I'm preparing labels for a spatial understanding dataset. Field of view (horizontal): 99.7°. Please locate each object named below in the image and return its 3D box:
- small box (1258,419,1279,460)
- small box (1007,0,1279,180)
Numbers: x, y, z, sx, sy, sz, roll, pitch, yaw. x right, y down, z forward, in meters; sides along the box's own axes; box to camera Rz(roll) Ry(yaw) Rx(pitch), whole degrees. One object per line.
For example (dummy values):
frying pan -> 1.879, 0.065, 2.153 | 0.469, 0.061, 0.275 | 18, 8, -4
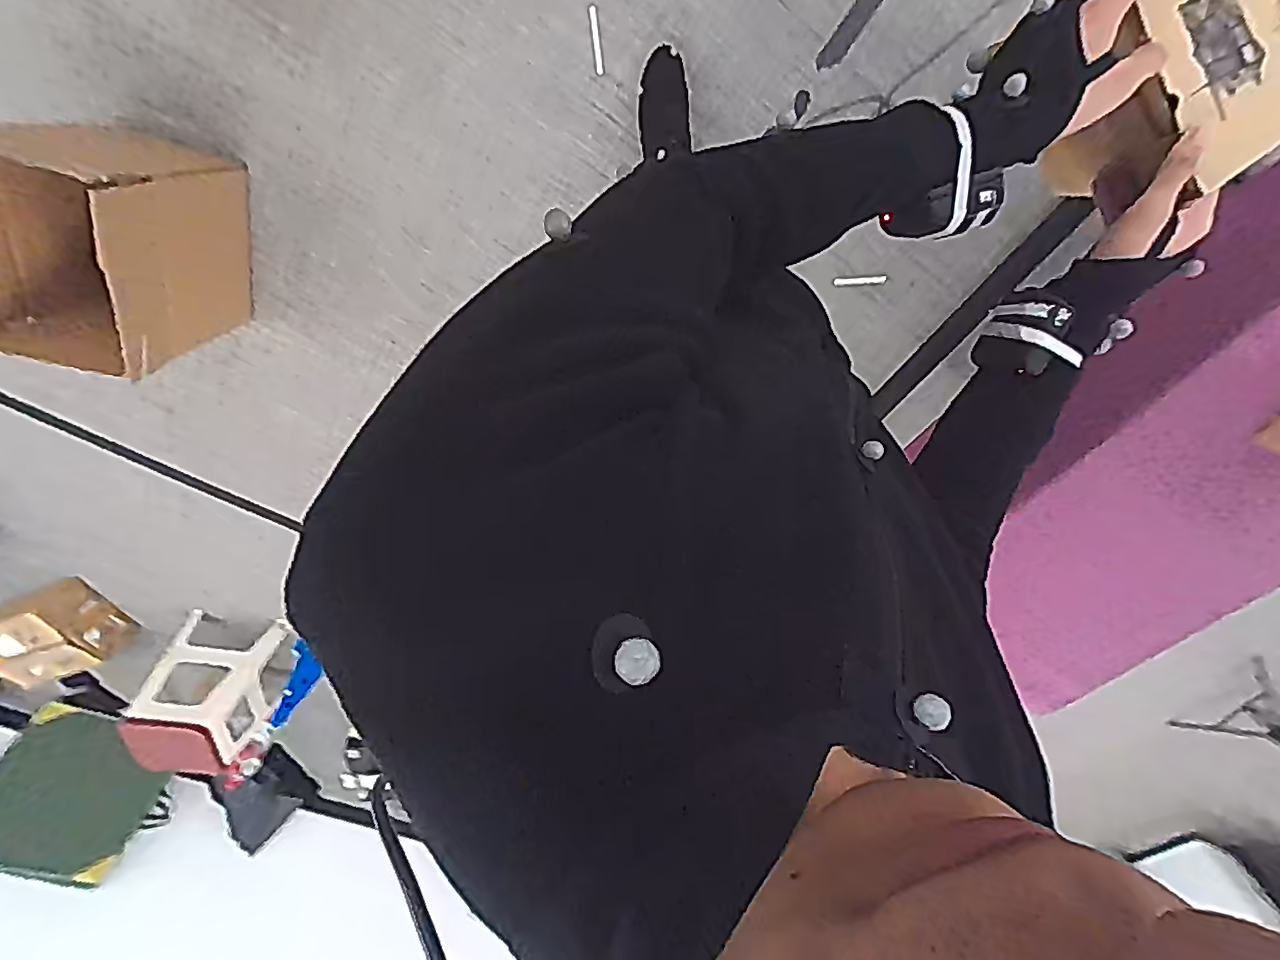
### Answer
small box -> 1.126, -0.056, 0.808 | 0.168, 0.176, 0.179 | 21, 121, -12
small box -> 0.437, -0.368, 0.429 | 0.179, 0.176, 0.168 | -40, 113, 17
